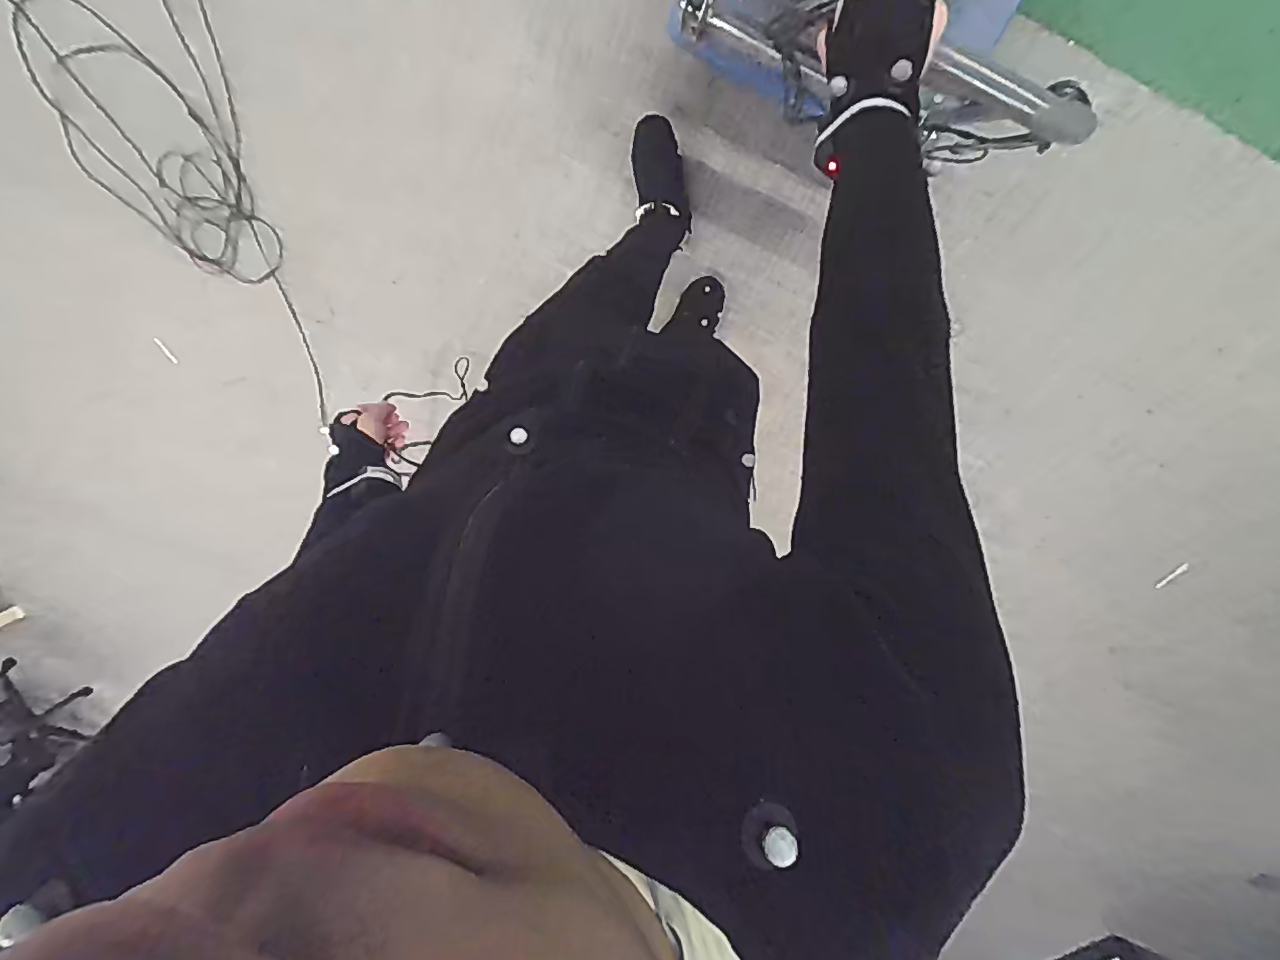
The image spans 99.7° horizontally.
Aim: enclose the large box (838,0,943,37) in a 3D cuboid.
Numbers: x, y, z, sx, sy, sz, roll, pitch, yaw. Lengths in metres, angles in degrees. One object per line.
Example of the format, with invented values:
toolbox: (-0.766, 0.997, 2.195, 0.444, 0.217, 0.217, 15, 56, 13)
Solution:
large box: (0.405, -0.954, 0.753, 0.320, 0.320, 0.408, 27, 119, -6)
